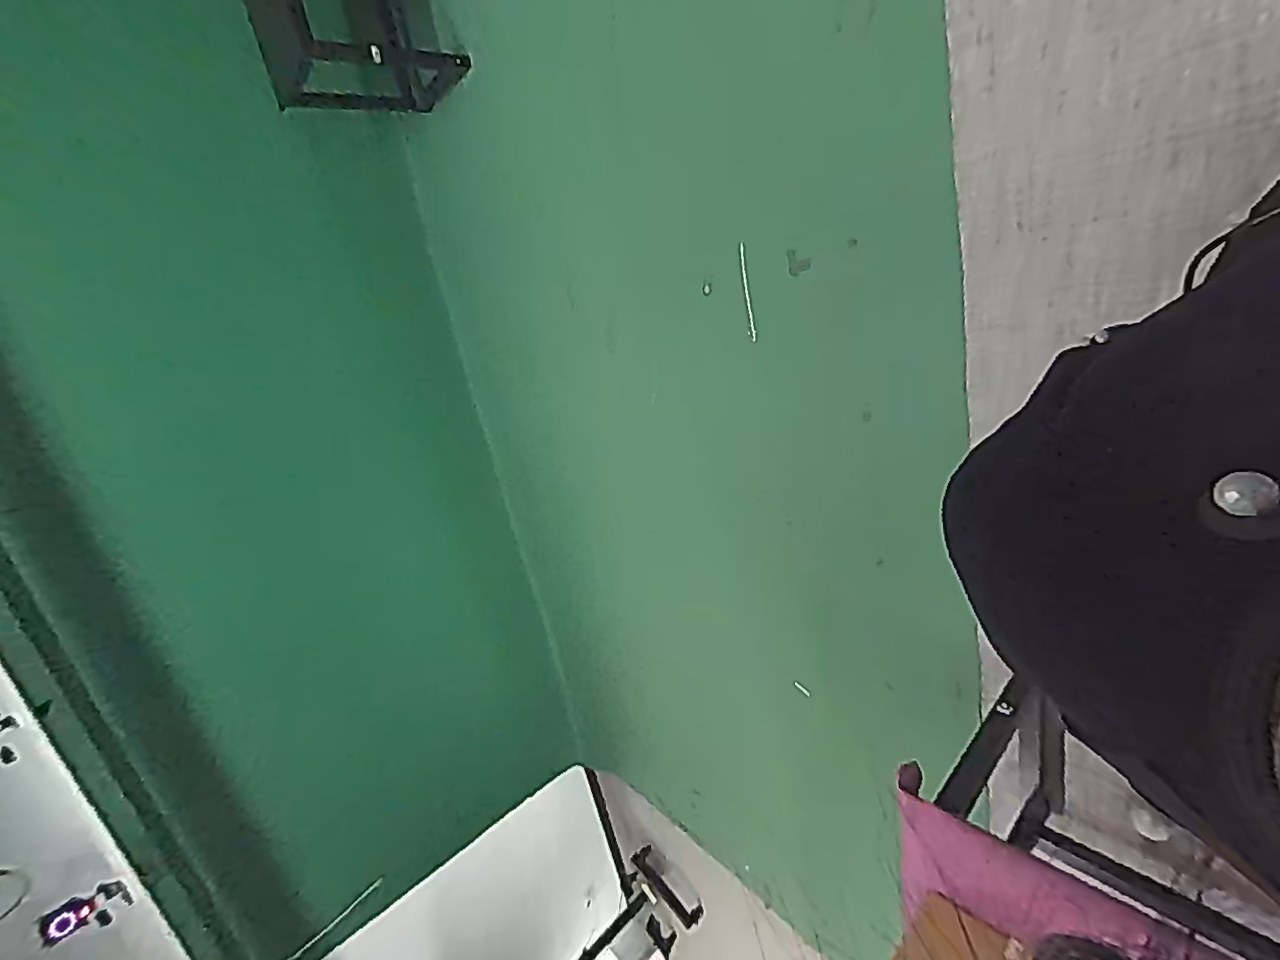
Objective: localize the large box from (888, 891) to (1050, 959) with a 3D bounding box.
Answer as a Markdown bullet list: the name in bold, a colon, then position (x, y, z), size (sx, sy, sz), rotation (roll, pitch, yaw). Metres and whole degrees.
- **large box**: position (0.606, 1.066, 0.938), size (0.320, 0.320, 0.408), rotation (7, 113, 48)
